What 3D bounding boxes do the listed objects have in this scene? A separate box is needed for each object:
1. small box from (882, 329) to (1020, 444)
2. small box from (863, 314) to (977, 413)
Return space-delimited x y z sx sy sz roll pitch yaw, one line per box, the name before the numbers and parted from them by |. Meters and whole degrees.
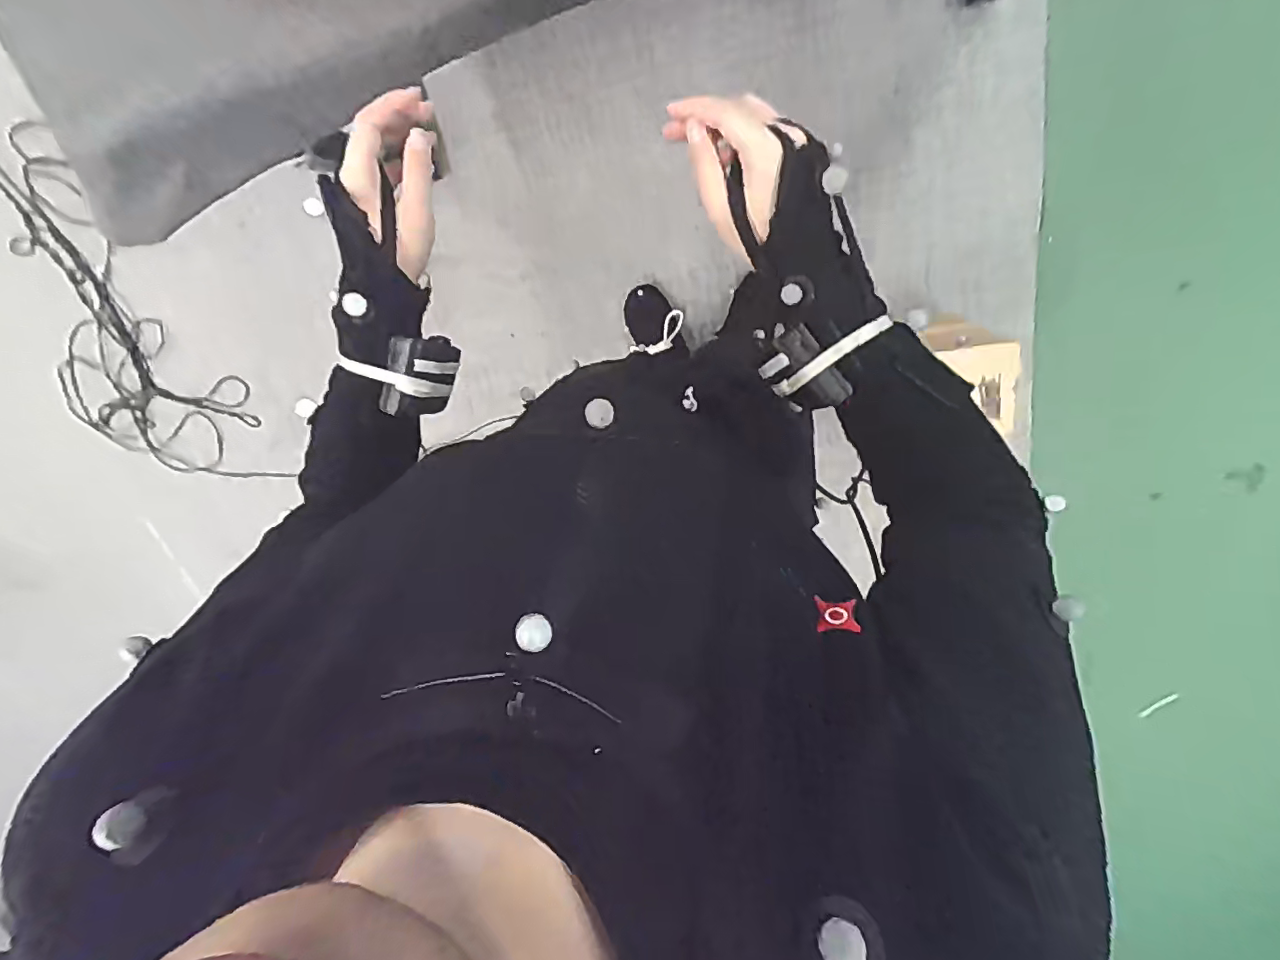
small box | 0.571 -0.180 1.015 0.179 0.176 0.168 -6 112 11
small box | 0.591 -0.254 1.161 0.179 0.176 0.168 -6 112 12
